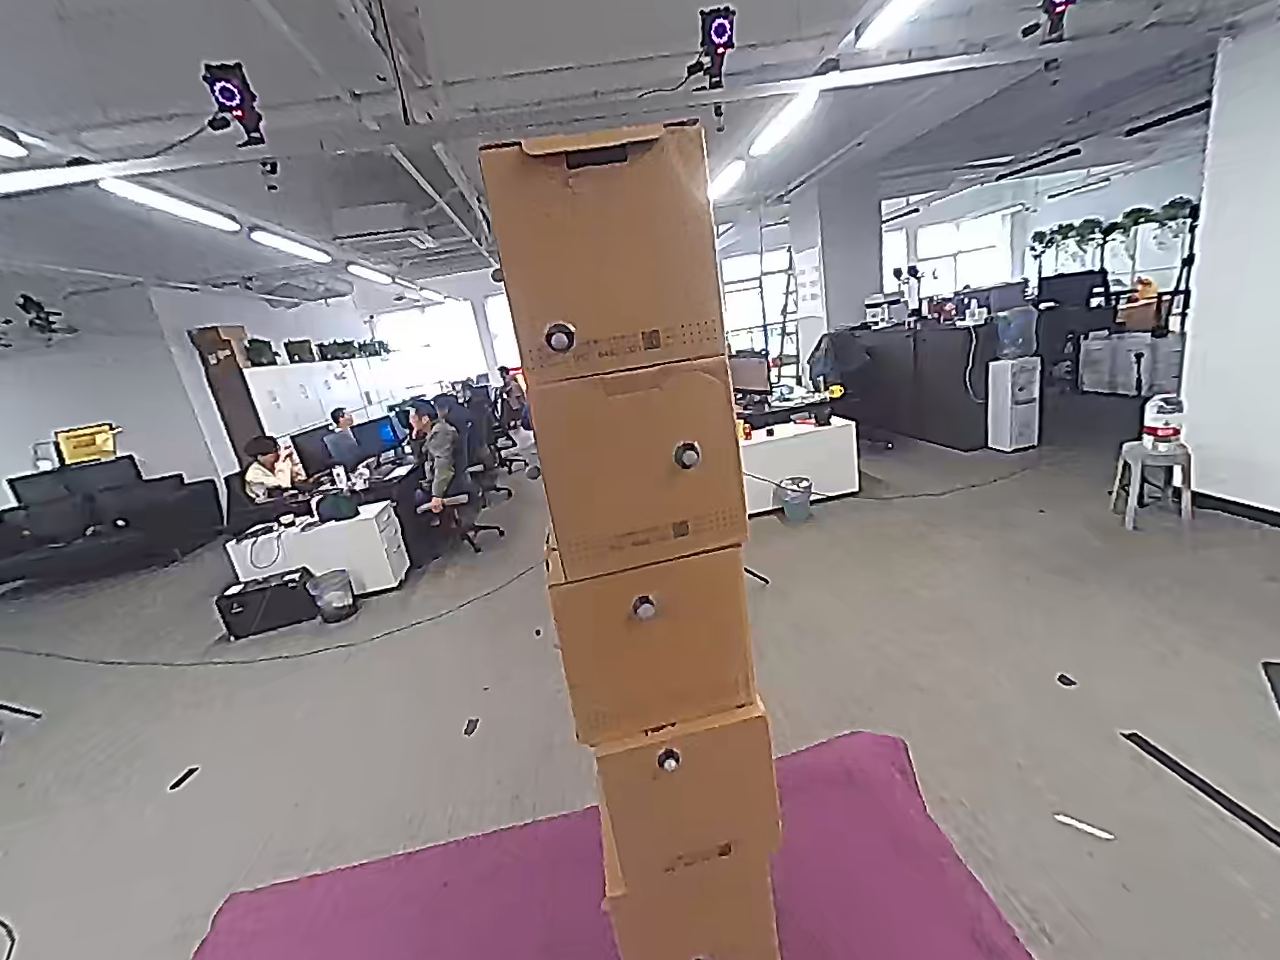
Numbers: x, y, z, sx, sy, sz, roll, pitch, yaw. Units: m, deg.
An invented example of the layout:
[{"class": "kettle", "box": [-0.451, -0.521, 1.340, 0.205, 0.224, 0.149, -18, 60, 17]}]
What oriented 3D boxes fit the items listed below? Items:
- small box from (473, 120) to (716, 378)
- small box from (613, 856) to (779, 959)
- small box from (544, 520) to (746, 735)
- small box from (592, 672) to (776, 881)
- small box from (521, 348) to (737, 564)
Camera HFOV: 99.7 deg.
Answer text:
[{"class": "small box", "box": [-0.038, -0.188, 0.486, 0.168, 0.176, 0.179, -11, 15, -6]}, {"class": "small box", "box": [0.070, 0.598, 0.683, 0.179, 0.176, 0.168, -12, 15, -6]}, {"class": "small box", "box": [0.003, 0.128, 0.563, 0.179, 0.176, 0.168, -12, 16, -7]}, {"class": "small box", "box": [0.037, 0.283, 0.596, 0.168, 0.176, 0.179, -12, 15, -6]}, {"class": "small box", "box": [-0.015, -0.029, 0.523, 0.168, 0.176, 0.179, -11, 15, -8]}]
